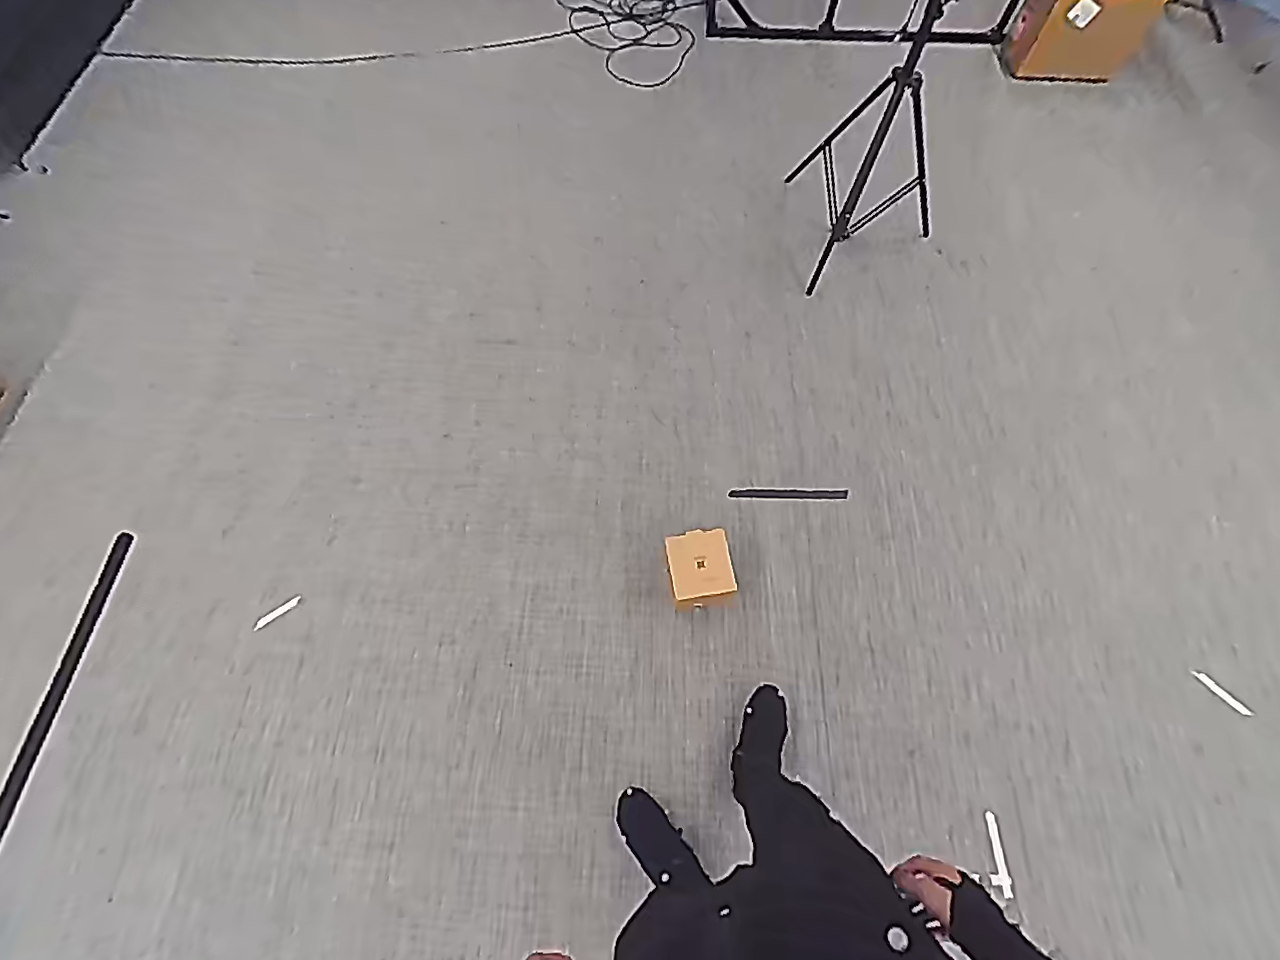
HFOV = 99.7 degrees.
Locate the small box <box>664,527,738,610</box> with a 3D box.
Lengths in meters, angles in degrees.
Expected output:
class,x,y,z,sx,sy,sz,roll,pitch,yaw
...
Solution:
class,x,y,z,sx,sy,sz,roll,pitch,yaw
small box,0.160,0.248,1.497,0.168,0.176,0.179,-9,66,-3
